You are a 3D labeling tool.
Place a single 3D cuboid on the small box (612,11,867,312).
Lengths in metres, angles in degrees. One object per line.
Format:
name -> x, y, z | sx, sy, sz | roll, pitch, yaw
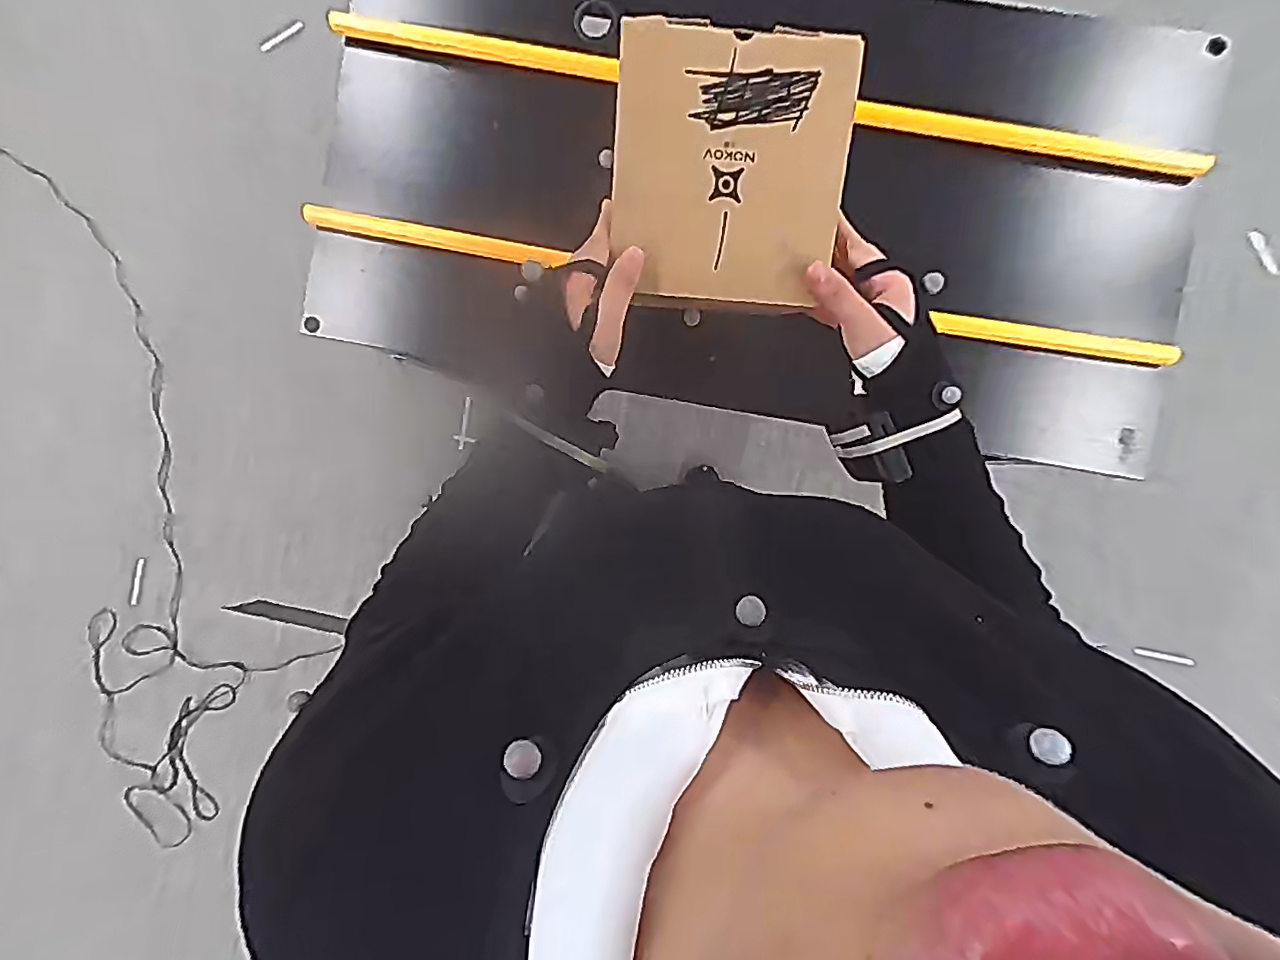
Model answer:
small box -> 0.066, -0.243, 0.461 | 0.168, 0.176, 0.179 | 4, 105, -1
